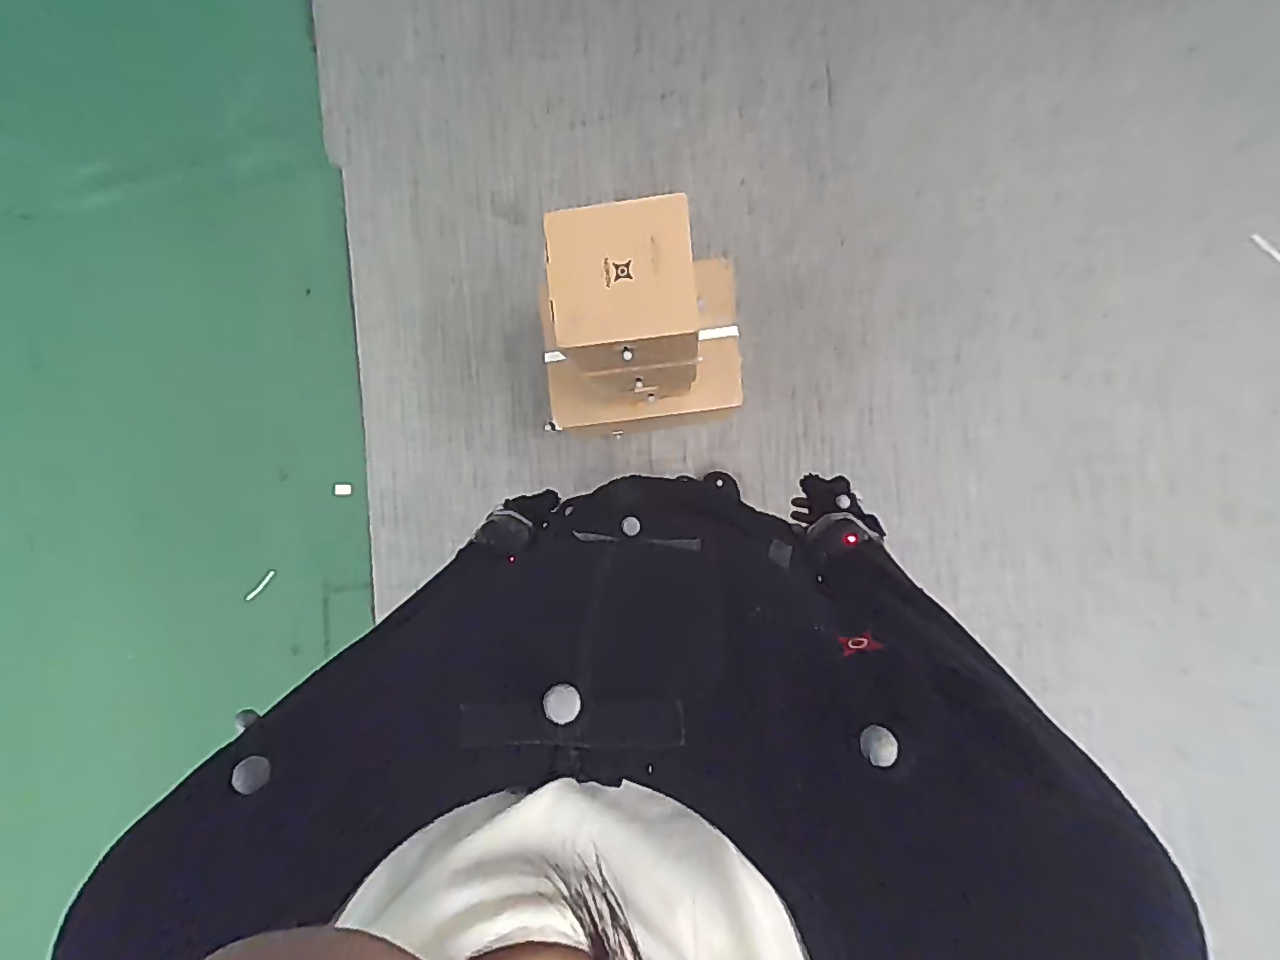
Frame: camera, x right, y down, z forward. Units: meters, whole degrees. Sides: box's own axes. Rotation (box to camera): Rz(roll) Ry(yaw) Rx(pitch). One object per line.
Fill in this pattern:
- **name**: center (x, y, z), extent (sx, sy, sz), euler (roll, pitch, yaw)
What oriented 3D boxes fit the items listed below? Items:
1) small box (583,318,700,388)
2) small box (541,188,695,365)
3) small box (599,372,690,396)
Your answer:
- **small box**: center (-0.003, -0.252, 0.882), extent (0.179, 0.176, 0.168), euler (-8, 91, 5)
- **small box**: center (-0.019, -0.255, 0.721), extent (0.179, 0.176, 0.168), euler (-5, 92, 5)
- **small box**: center (0.005, -0.262, 1.046), extent (0.168, 0.176, 0.179), euler (-7, 91, 6)
